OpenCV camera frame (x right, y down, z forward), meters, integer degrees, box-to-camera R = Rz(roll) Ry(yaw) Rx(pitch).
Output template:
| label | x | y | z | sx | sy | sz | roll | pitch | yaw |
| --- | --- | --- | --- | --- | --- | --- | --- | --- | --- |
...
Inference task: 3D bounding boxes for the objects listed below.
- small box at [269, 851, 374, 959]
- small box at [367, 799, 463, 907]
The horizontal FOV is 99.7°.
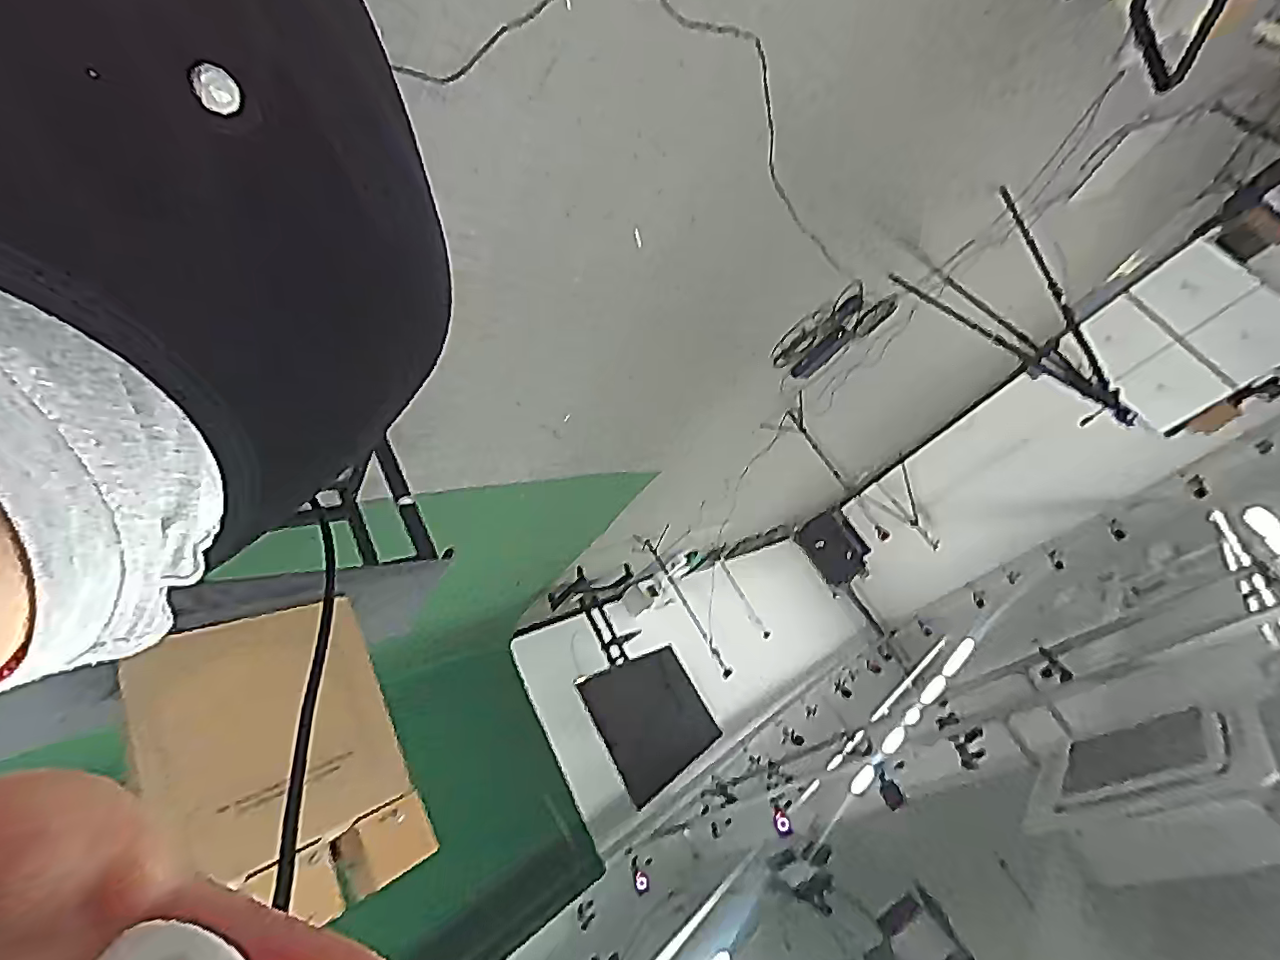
| label | x | y | z | sx | sy | sz | roll | pitch | yaw |
| --- | --- | --- | --- | --- | --- | --- | --- | --- | --- |
| small box | -0.774 | 1.038 | 1.307 | 0.168 | 0.176 | 0.179 | -8 | 148 | -47 |
| small box | -0.621 | 1.011 | 1.478 | 0.168 | 0.176 | 0.179 | -11 | 148 | -50 |
